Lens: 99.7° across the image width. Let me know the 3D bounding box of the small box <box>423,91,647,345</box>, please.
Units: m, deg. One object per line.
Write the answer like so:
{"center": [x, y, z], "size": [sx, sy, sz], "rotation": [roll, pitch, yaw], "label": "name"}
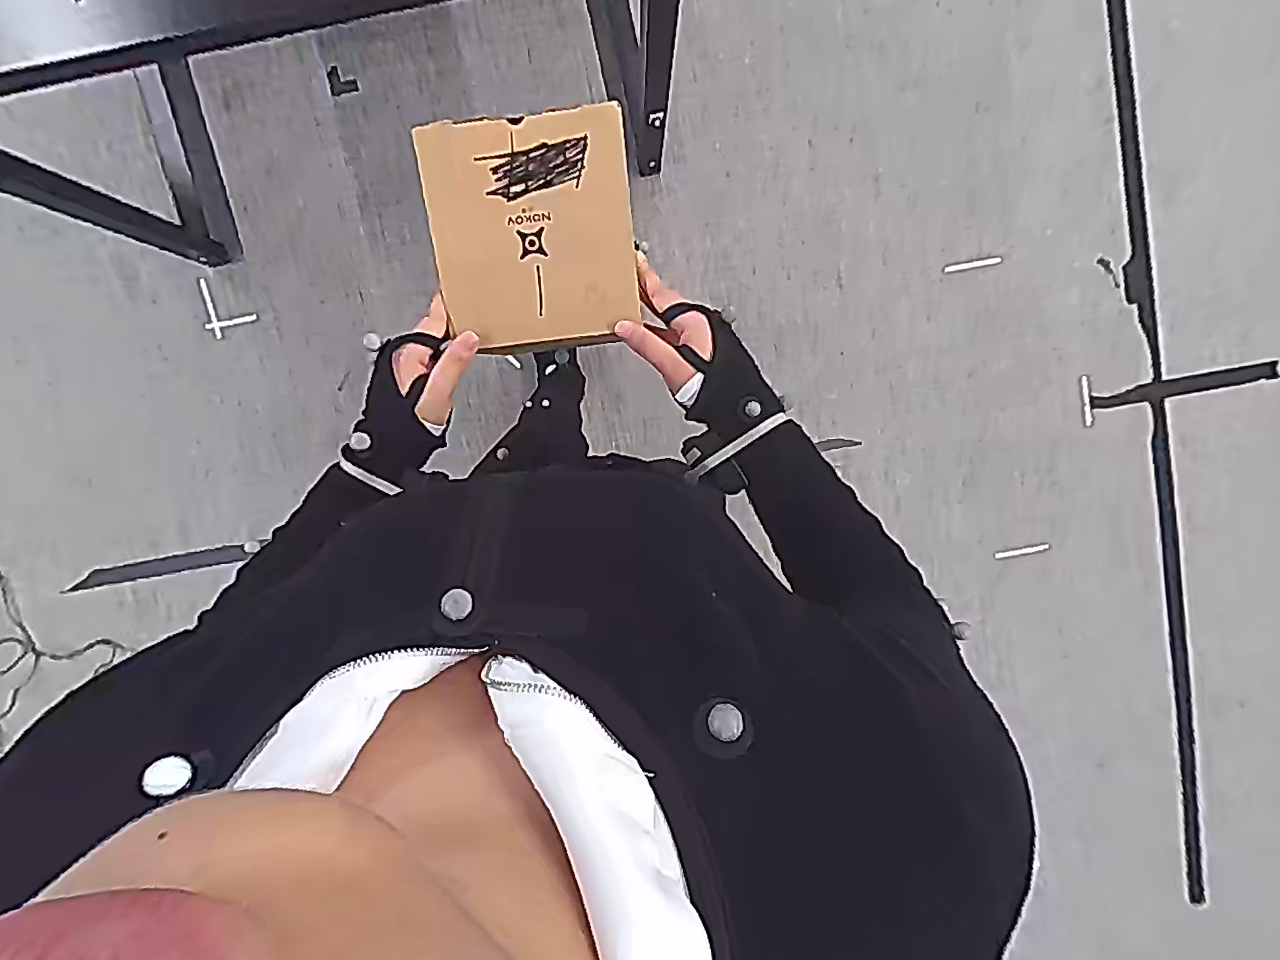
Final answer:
{"center": [-0.085, -0.231, 0.523], "size": [0.168, 0.176, 0.179], "rotation": [-6, 102, 1], "label": "small box"}
